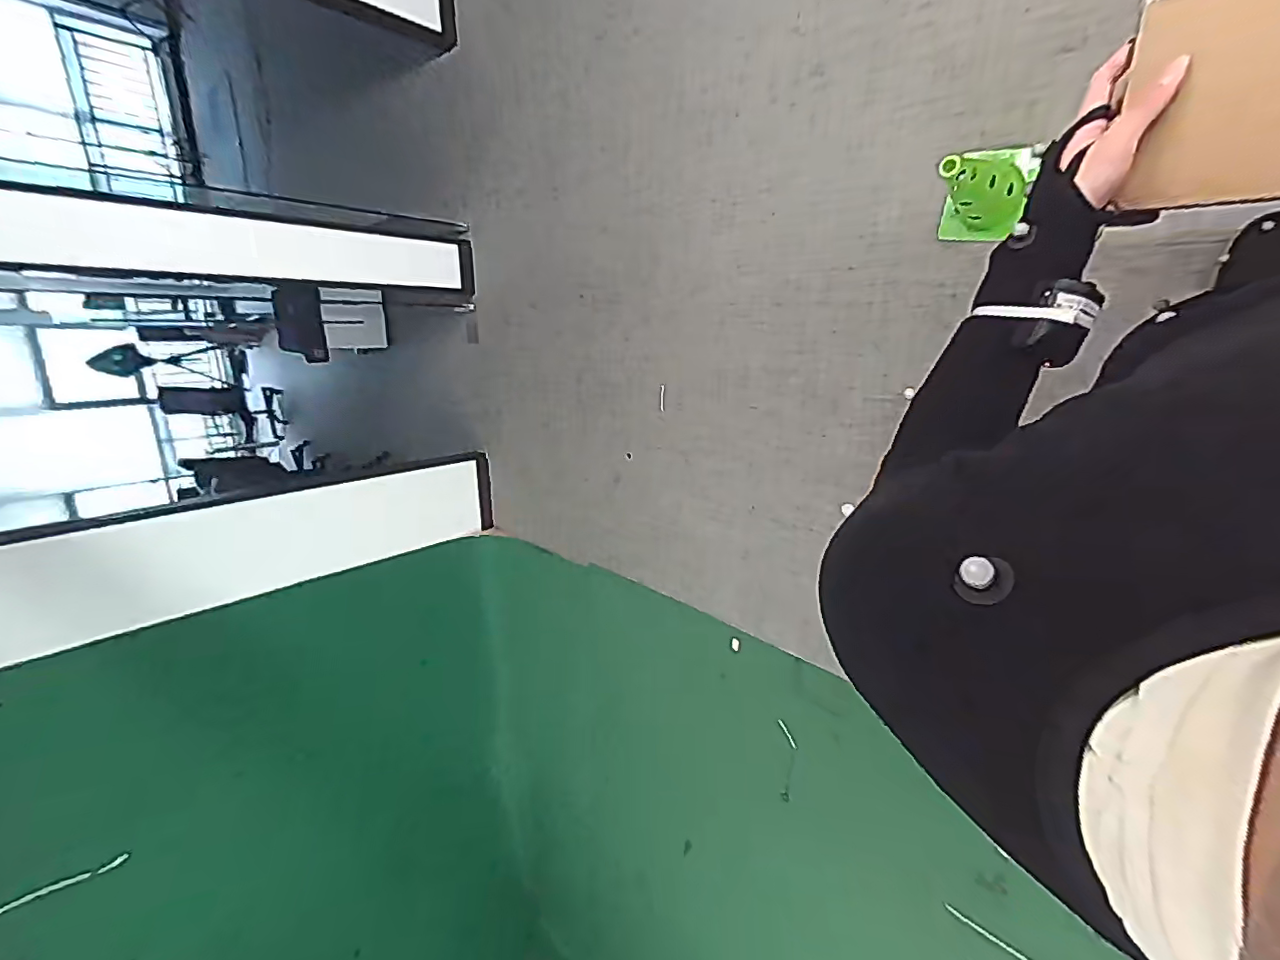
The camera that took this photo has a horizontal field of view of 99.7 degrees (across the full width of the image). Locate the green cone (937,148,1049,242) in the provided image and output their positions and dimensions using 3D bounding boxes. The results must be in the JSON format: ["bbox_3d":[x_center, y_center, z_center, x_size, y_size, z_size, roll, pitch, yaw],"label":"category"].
[{"bbox_3d":[0.742,-0.657,1.210,0.200,0.368,0.202,22,117,40],"label":"green cone"}]
